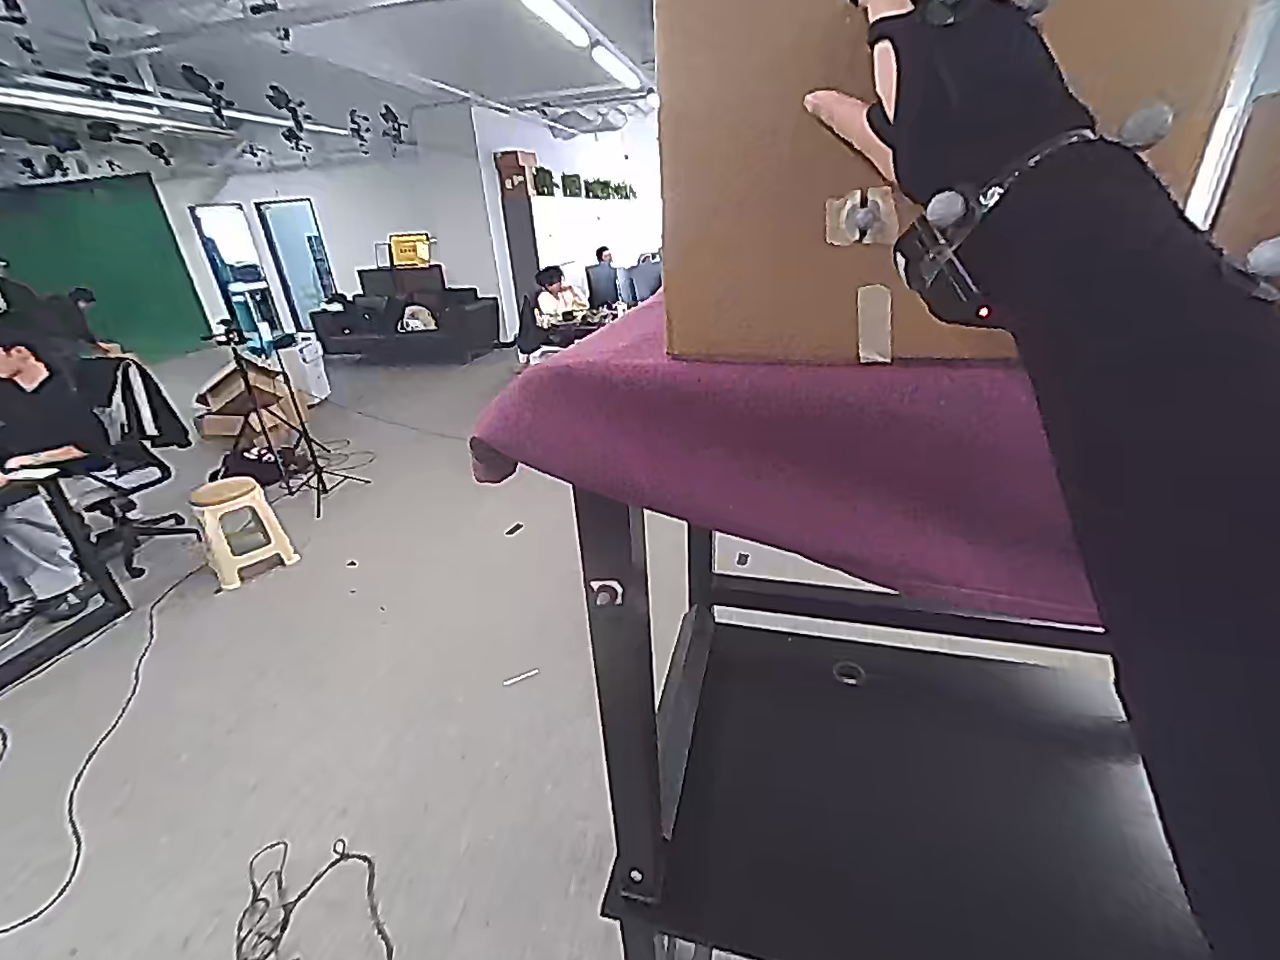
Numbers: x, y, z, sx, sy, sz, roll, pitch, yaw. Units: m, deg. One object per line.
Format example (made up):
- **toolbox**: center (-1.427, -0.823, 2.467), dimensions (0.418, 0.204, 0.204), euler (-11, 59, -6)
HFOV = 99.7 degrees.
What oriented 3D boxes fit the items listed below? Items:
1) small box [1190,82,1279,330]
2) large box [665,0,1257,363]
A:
- **small box**: center (0.552, -0.193, 0.369), dimensions (0.179, 0.176, 0.168), euler (3, 26, 16)
- **large box**: center (0.210, -0.301, 0.484), dimensions (0.320, 0.320, 0.408), euler (4, 26, 15)
